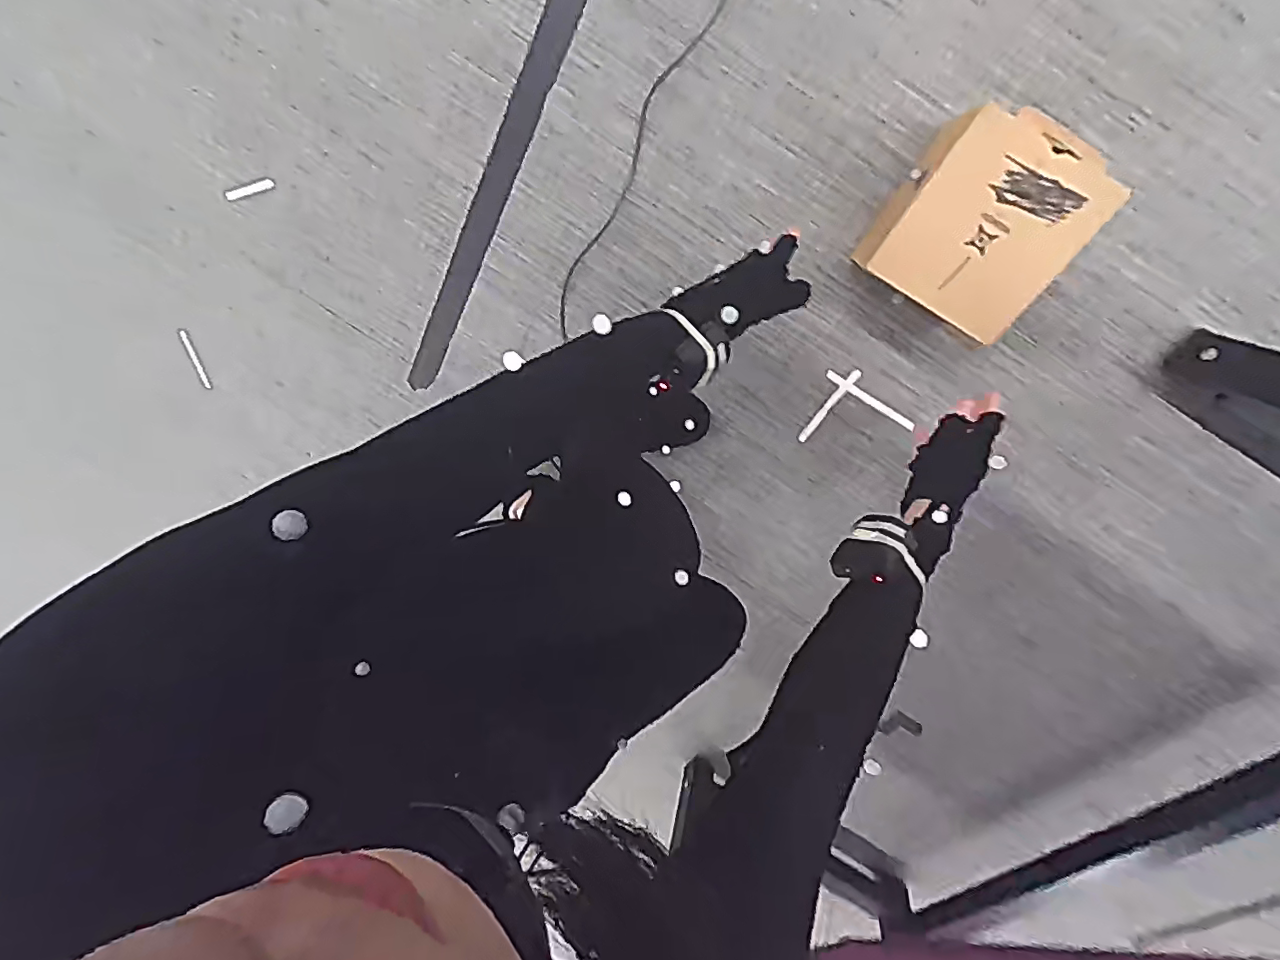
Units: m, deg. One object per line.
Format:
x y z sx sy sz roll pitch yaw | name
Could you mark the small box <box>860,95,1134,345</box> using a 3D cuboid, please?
0.374 -0.285 0.614 0.168 0.176 0.179 33 119 -2 | small box
